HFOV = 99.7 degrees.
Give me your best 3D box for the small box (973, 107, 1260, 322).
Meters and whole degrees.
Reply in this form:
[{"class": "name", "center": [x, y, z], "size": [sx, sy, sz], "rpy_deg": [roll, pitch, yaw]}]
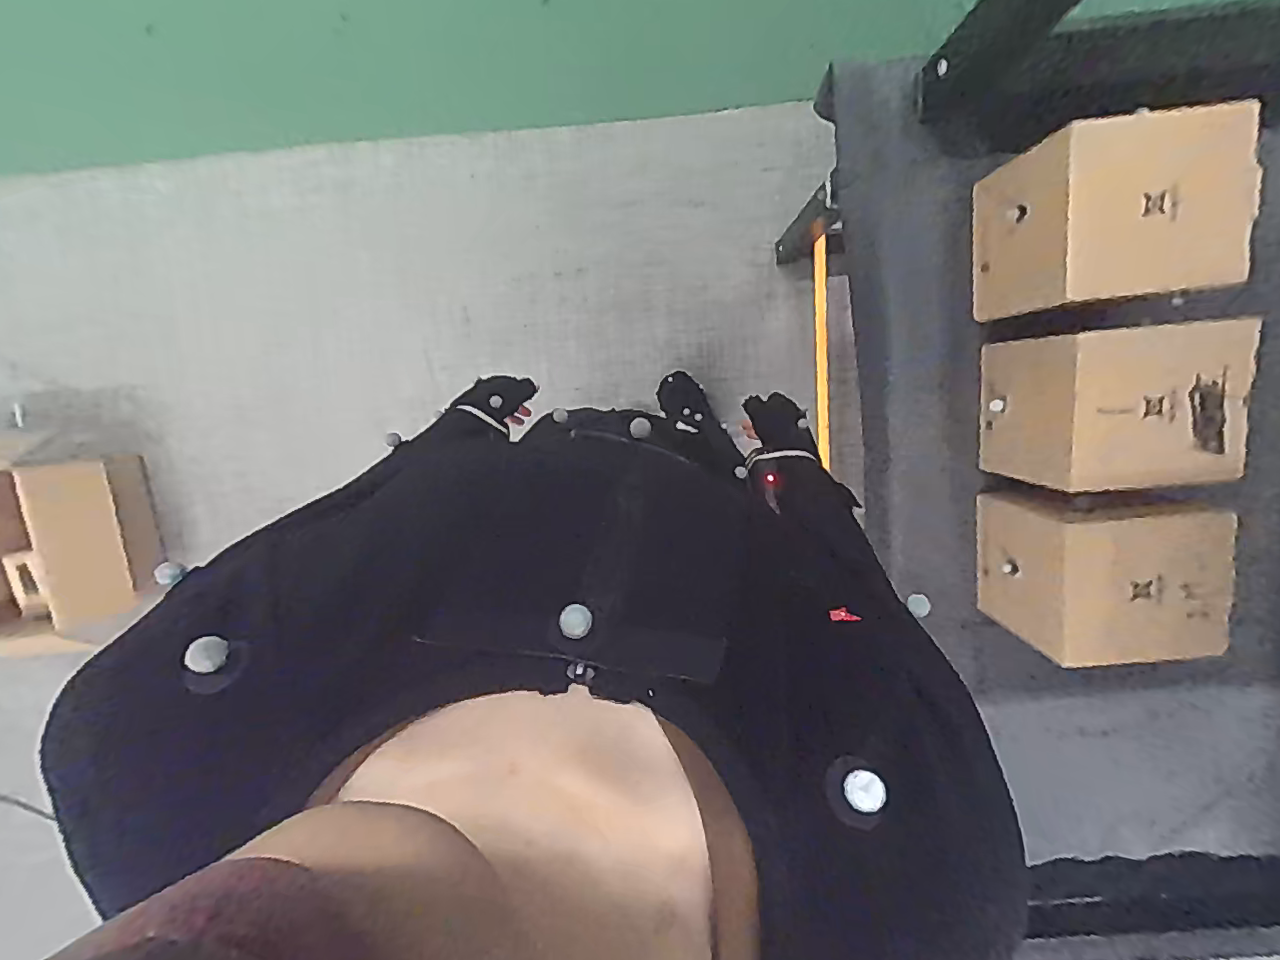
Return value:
[{"class": "small box", "center": [0.500, -0.274, 0.598], "size": [0.179, 0.176, 0.168], "rpy_deg": [-5, 100, 2]}]
